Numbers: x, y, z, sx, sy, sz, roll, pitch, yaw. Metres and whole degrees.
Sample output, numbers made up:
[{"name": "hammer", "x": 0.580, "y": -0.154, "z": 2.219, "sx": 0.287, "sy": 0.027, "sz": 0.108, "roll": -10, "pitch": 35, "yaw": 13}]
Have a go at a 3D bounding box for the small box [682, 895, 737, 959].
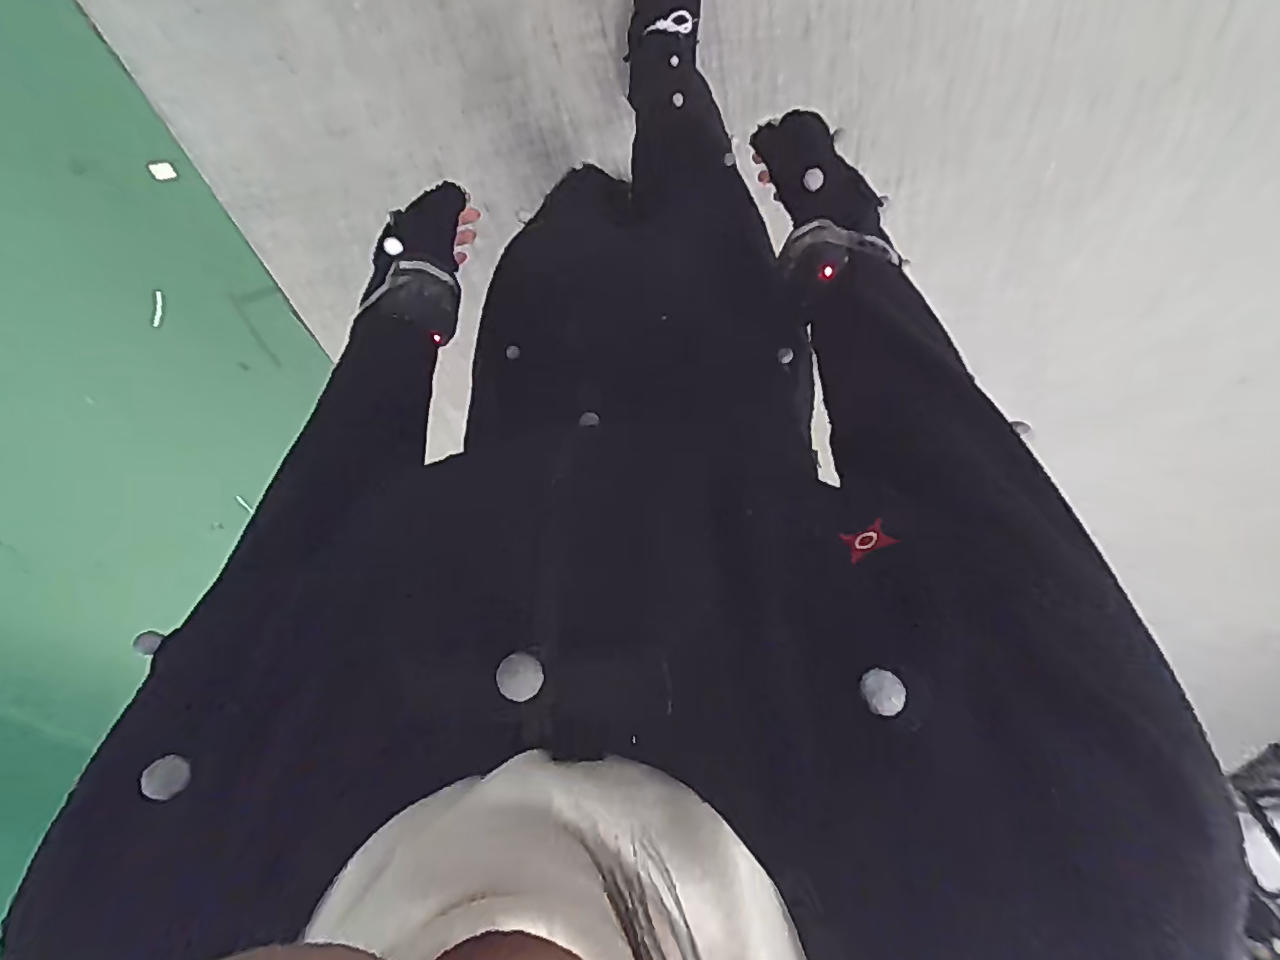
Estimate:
[{"name": "small box", "x": 0.249, "y": 1.603, "z": 1.936, "sx": 0.179, "sy": 0.176, "sz": 0.168, "roll": -7, "pitch": 134, "yaw": 10}]
